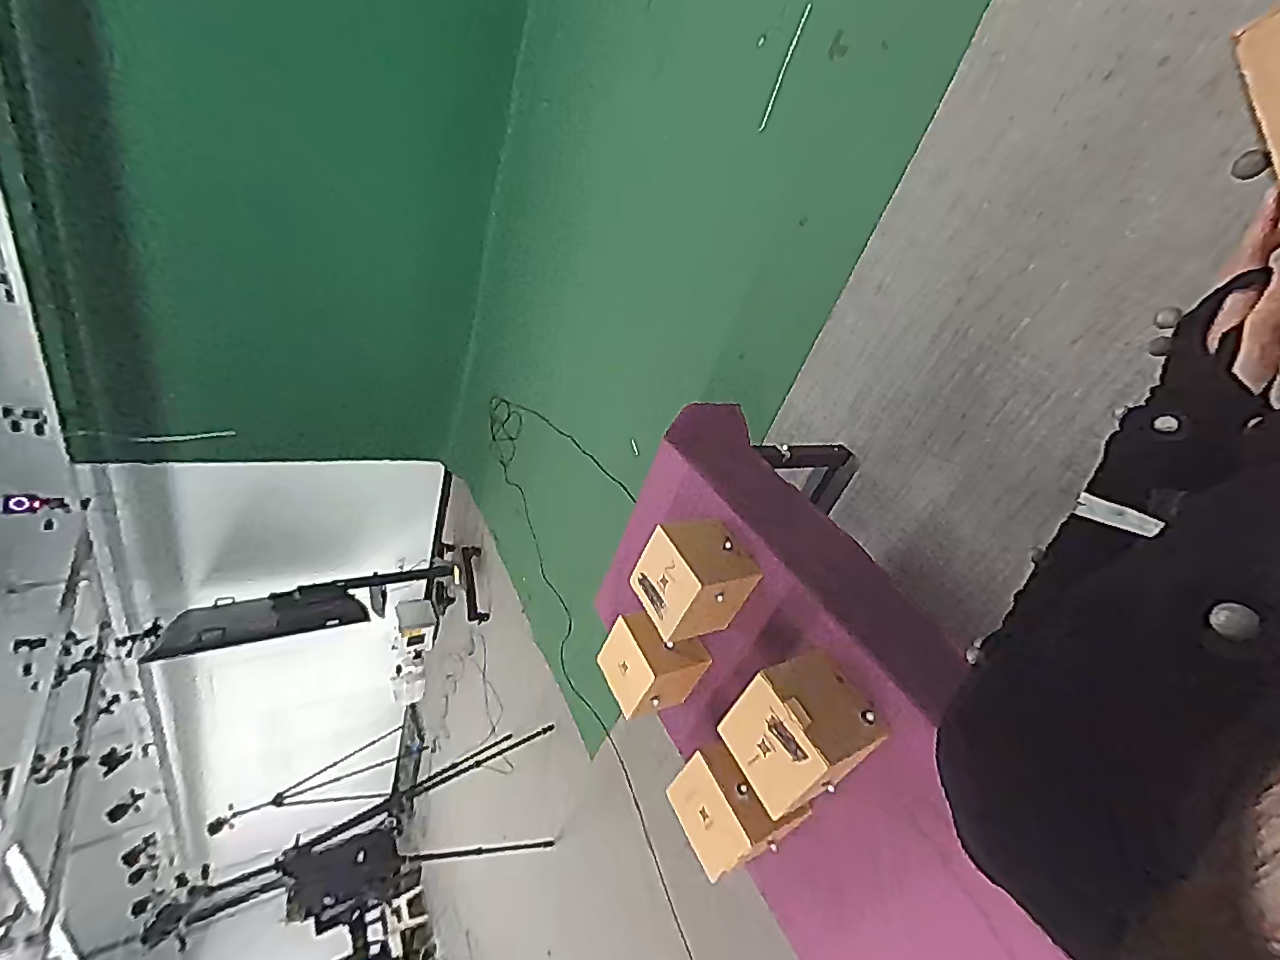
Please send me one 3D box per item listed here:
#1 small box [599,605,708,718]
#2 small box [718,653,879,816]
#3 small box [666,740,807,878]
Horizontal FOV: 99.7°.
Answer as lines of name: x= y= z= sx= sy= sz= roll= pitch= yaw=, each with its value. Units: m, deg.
small box: x=0.033 y=0.413 z=1.256 sx=0.168 sy=0.176 sz=0.179 roll=55 pitch=134 yaw=38
small box: x=0.270 y=0.421 z=0.918 sx=0.168 sy=0.176 sz=0.179 roll=54 pitch=134 yaw=39
small box: x=0.186 y=0.616 z=1.049 sx=0.179 sy=0.176 sz=0.168 roll=55 pitch=133 yaw=38
